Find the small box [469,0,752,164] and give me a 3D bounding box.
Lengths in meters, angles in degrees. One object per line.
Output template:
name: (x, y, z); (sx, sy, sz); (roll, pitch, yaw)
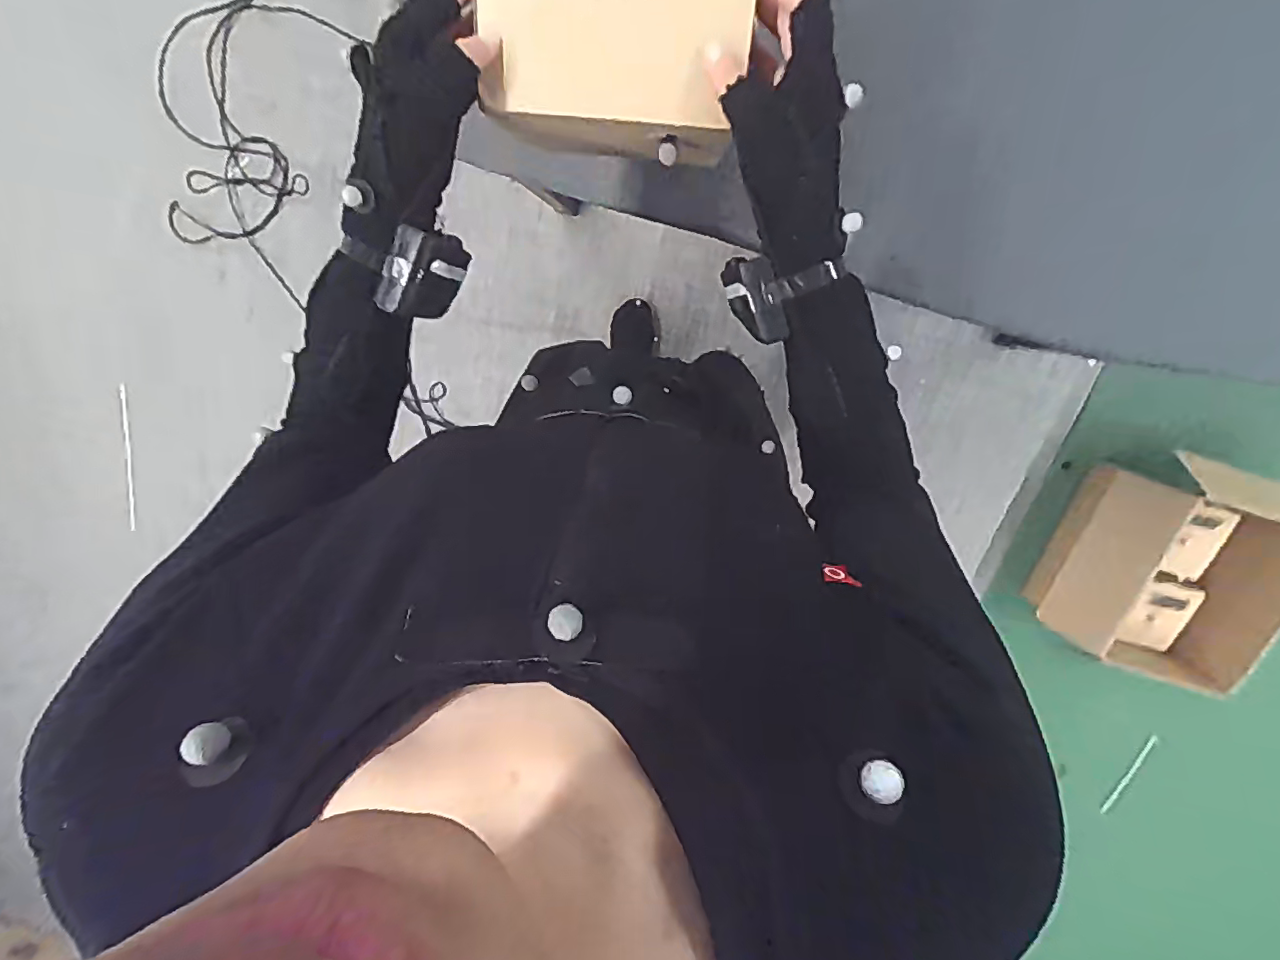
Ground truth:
small box: (-0.015, -0.341, 0.396); (0.179, 0.176, 0.168); (6, 113, 0)
